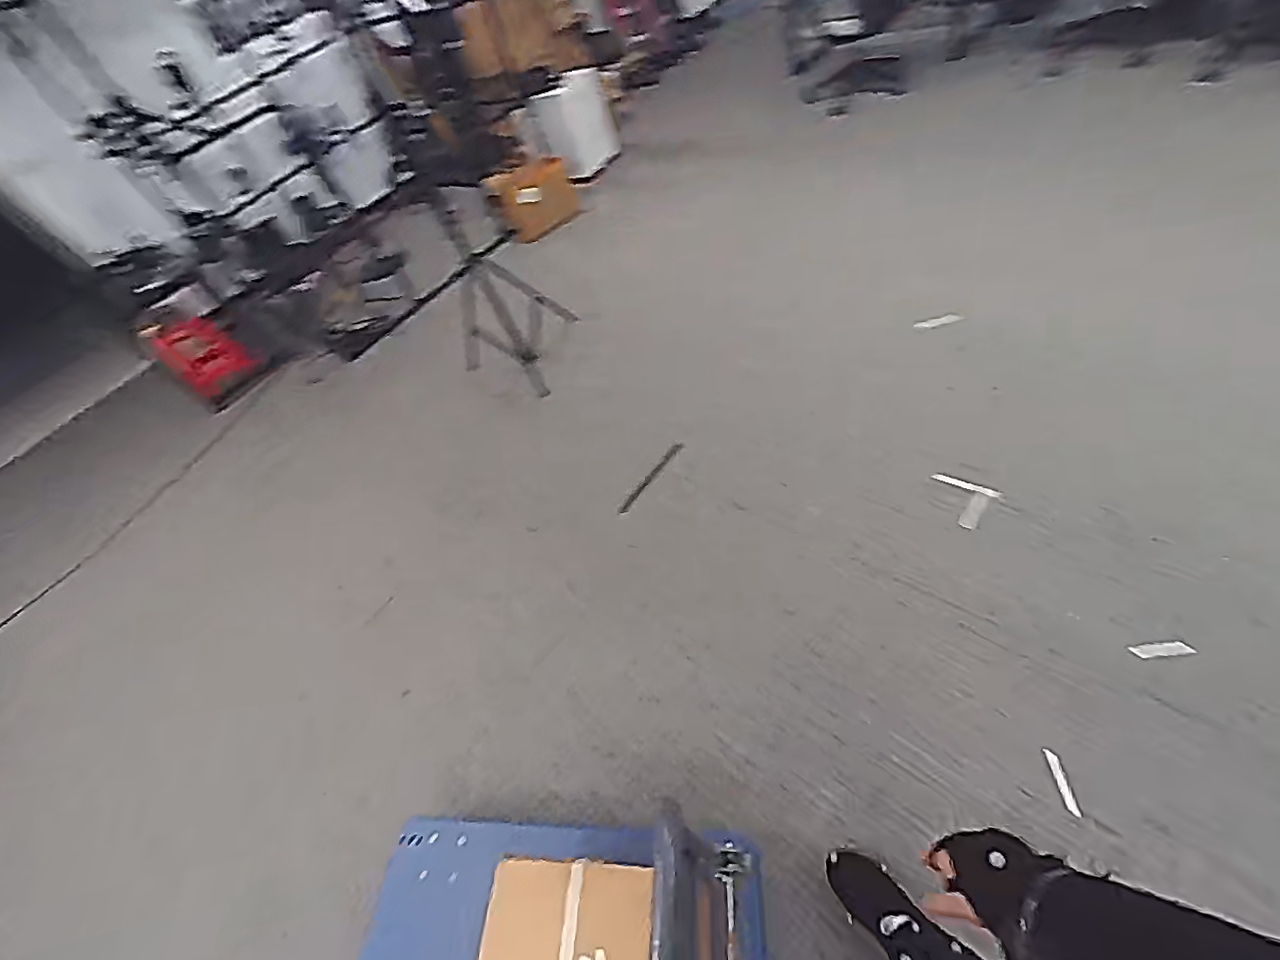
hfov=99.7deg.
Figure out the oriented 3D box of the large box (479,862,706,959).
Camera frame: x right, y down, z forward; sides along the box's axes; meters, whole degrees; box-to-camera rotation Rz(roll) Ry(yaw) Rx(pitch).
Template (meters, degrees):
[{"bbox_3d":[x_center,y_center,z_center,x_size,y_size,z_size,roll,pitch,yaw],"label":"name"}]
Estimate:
[{"bbox_3d":[-0.072,0.893,0.883,0.320,0.320,0.408,-8,48,16],"label":"large box"}]
